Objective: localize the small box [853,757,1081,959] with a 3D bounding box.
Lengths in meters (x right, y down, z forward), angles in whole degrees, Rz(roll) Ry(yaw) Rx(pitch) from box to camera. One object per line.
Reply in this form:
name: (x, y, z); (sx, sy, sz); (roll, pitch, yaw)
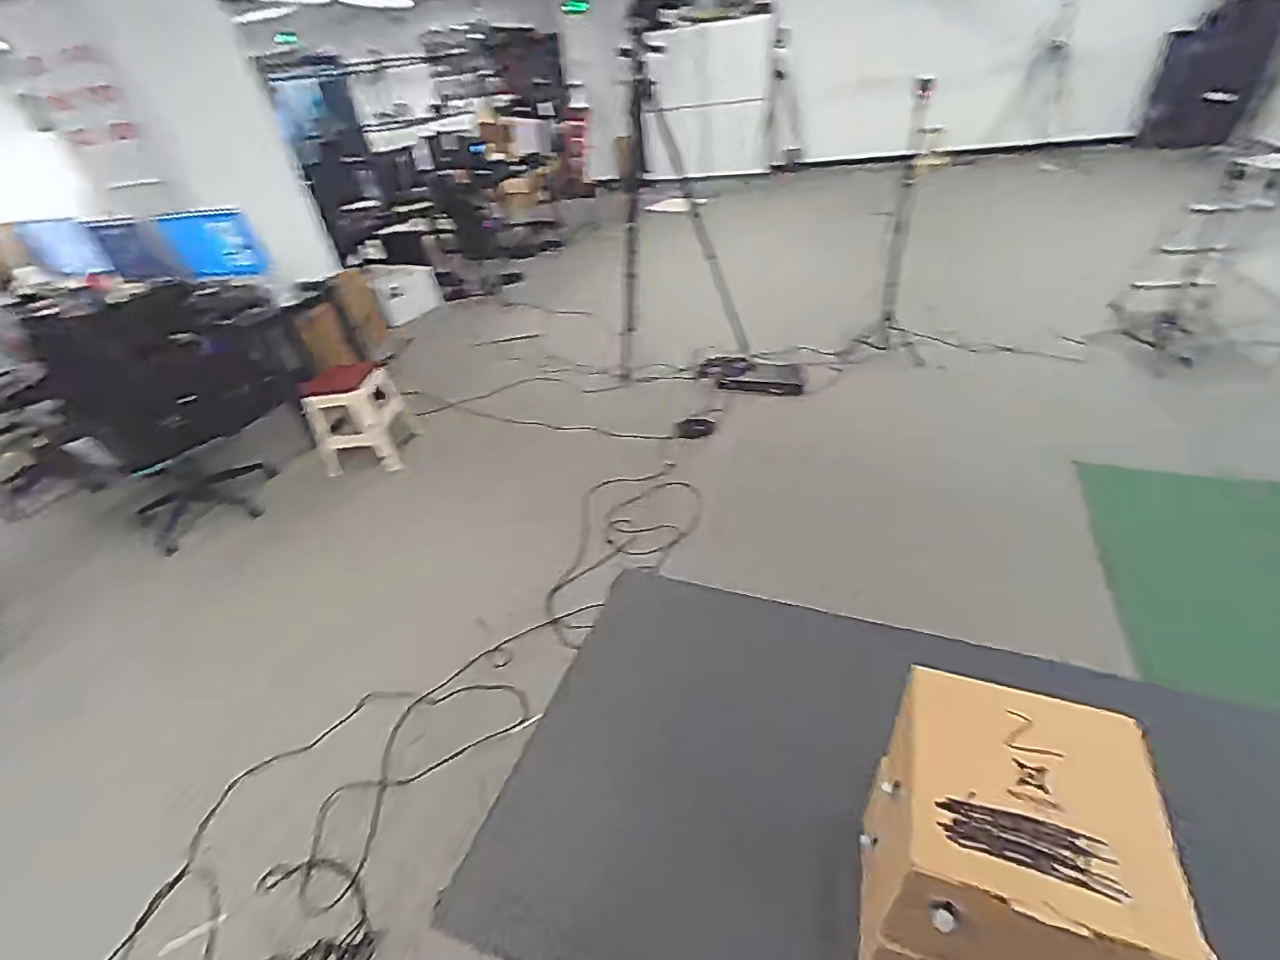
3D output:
small box: (0.322, 0.435, 0.566); (0.168, 0.176, 0.179); (7, 39, 19)
